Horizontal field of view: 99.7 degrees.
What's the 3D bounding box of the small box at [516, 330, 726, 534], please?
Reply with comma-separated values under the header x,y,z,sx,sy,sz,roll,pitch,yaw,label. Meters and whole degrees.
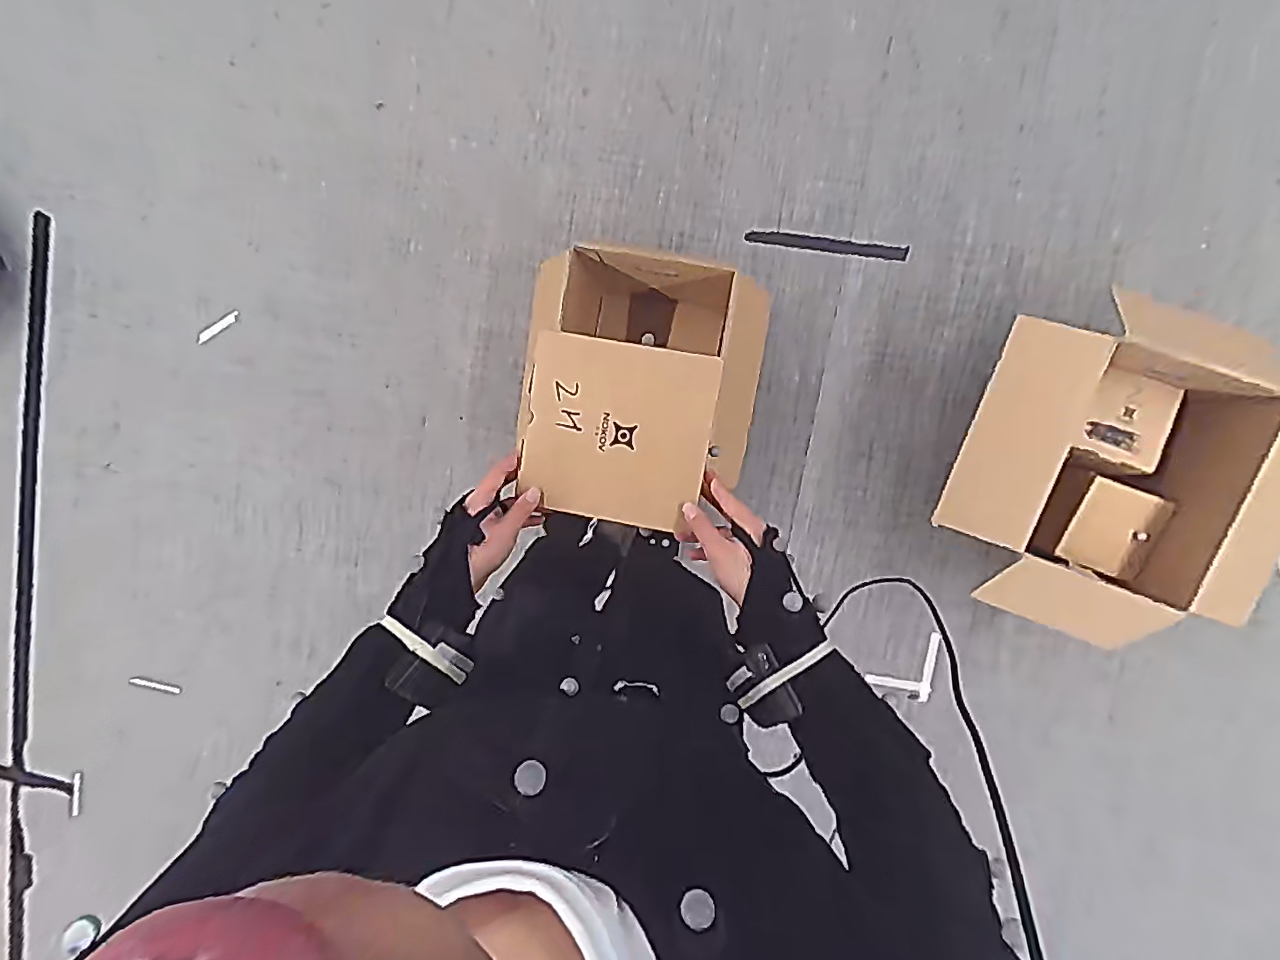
x,y,z,sx,sy,sz,roll,pitch,yaw,label
-0.012,-0.054,0.579,0.179,0.176,0.168,11,98,6,small box
